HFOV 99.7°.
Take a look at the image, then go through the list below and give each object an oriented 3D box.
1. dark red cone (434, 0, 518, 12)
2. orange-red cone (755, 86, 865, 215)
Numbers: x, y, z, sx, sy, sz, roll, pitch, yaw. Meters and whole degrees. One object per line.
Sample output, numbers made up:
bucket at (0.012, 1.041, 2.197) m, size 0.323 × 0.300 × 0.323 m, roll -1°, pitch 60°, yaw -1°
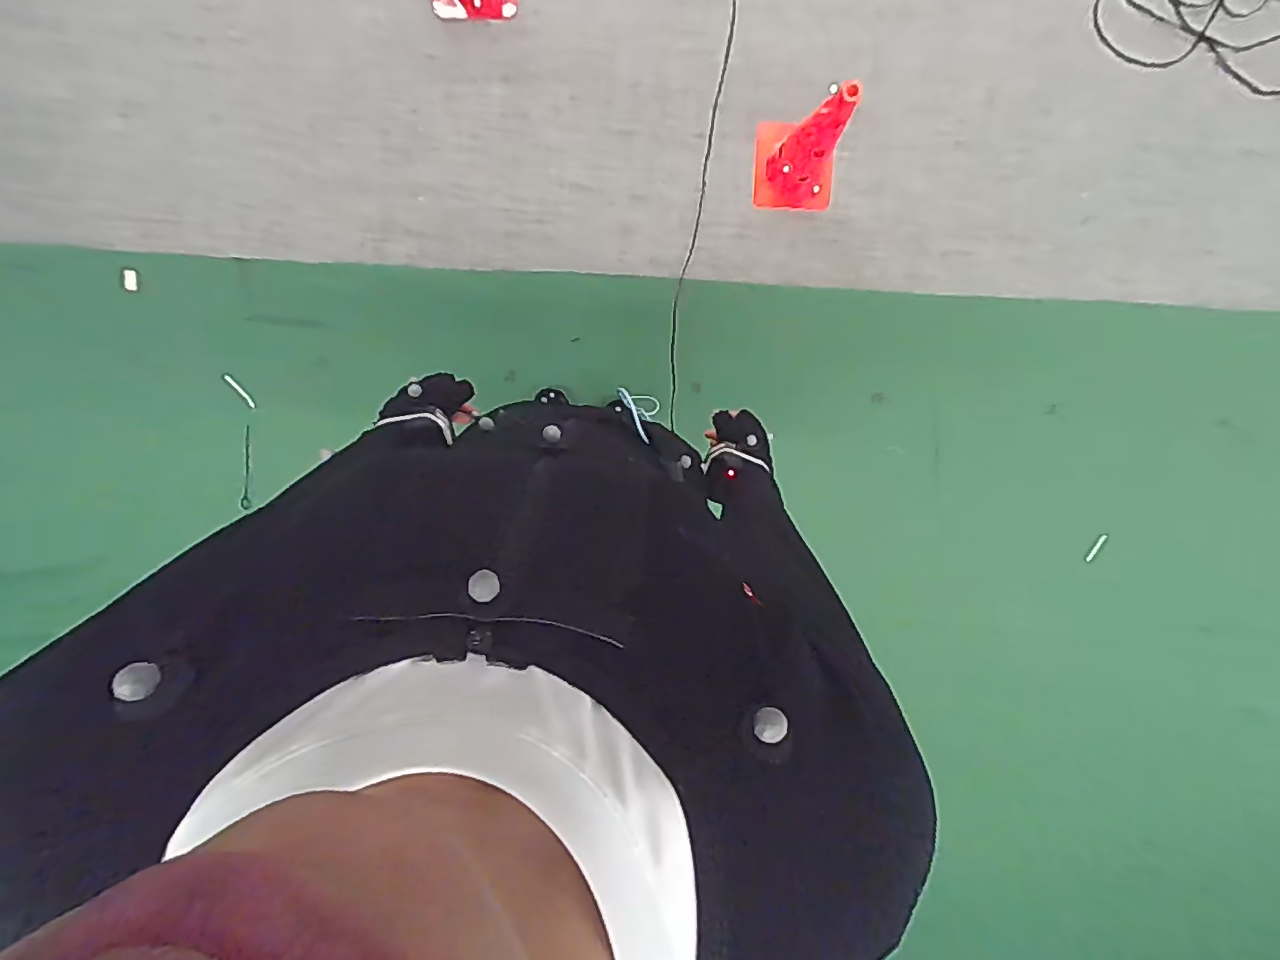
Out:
dark red cone at (-0.381, -1.175, 1.096) m, size 0.202 × 0.394 × 0.201 m, roll -3°, pitch 100°, yaw -1°
orange-red cone at (0.403, -0.762, 1.205) m, size 0.198 × 0.360 × 0.199 m, roll 3°, pitch 97°, yaw -3°
